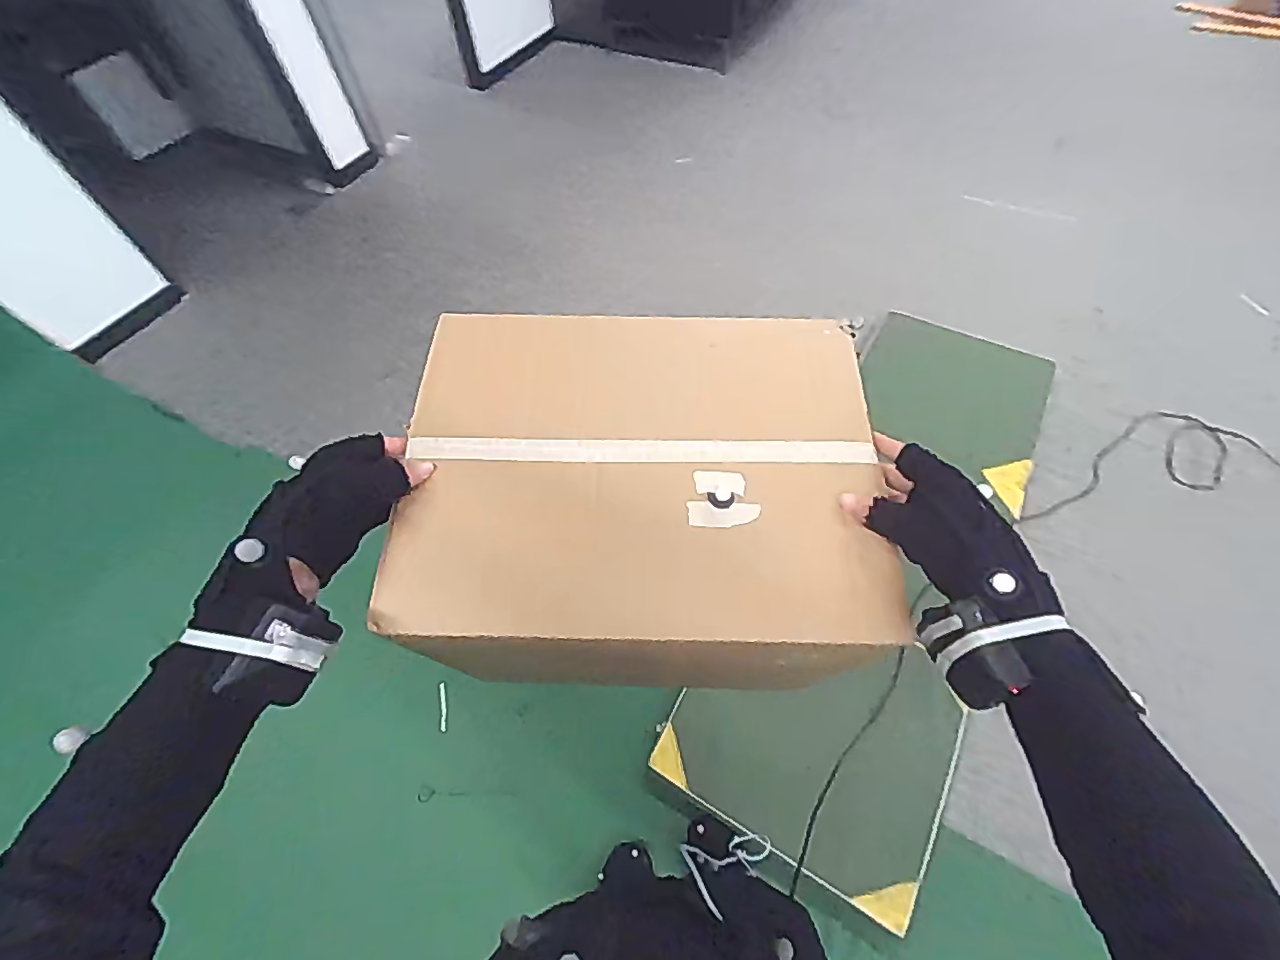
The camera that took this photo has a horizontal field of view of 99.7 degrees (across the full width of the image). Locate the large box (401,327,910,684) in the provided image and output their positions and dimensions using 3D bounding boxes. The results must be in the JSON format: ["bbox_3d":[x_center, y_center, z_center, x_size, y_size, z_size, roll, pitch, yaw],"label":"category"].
[{"bbox_3d":[0.011,0.051,0.614,0.408,0.320,0.320,2,64,0],"label":"large box"}]
